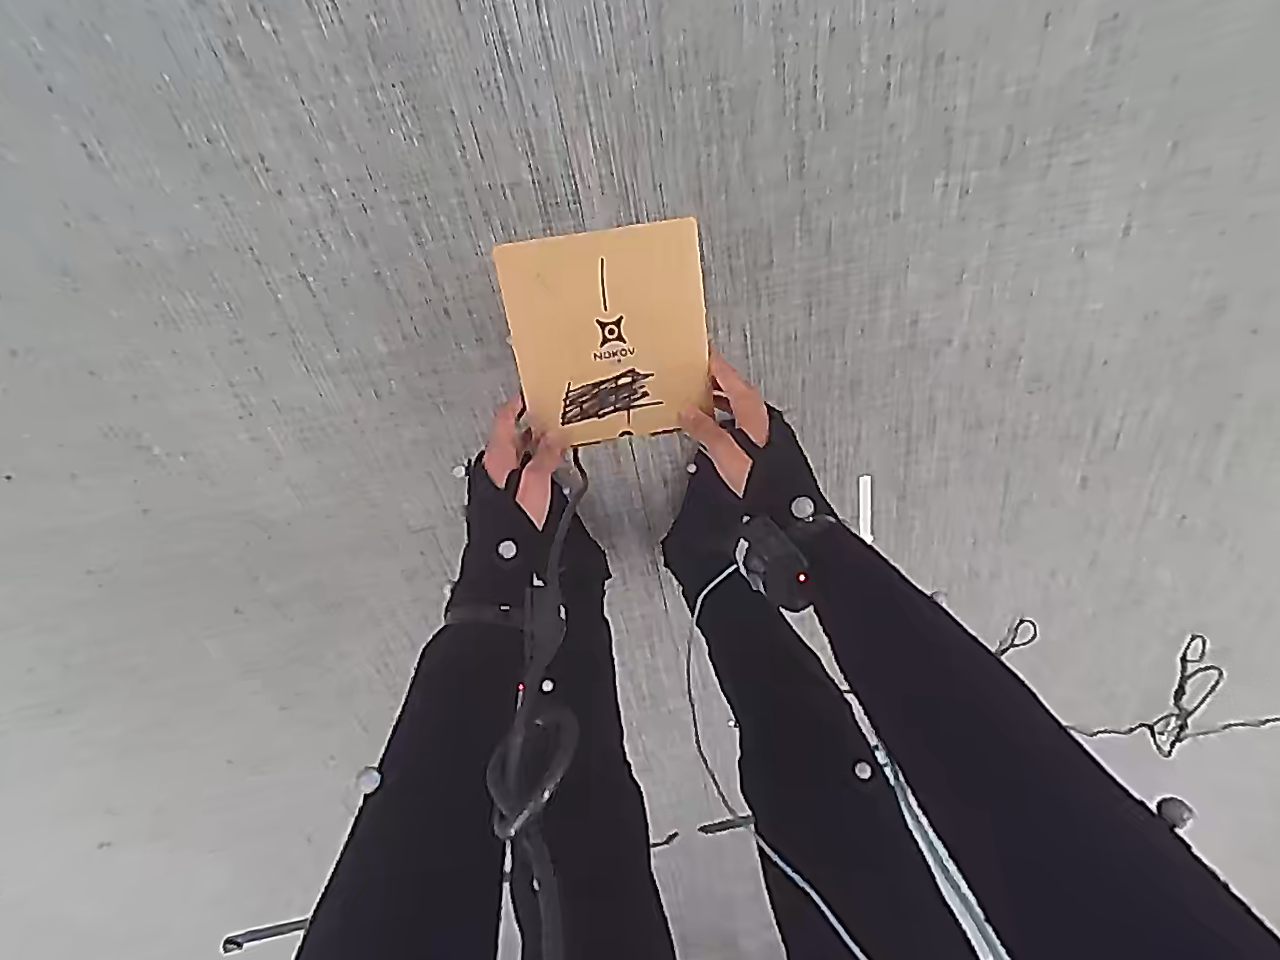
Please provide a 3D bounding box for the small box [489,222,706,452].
[{"bbox_3d":[-0.036,-0.144,0.532,0.168,0.176,0.179,-9,111,-3],"label":"small box"}]
